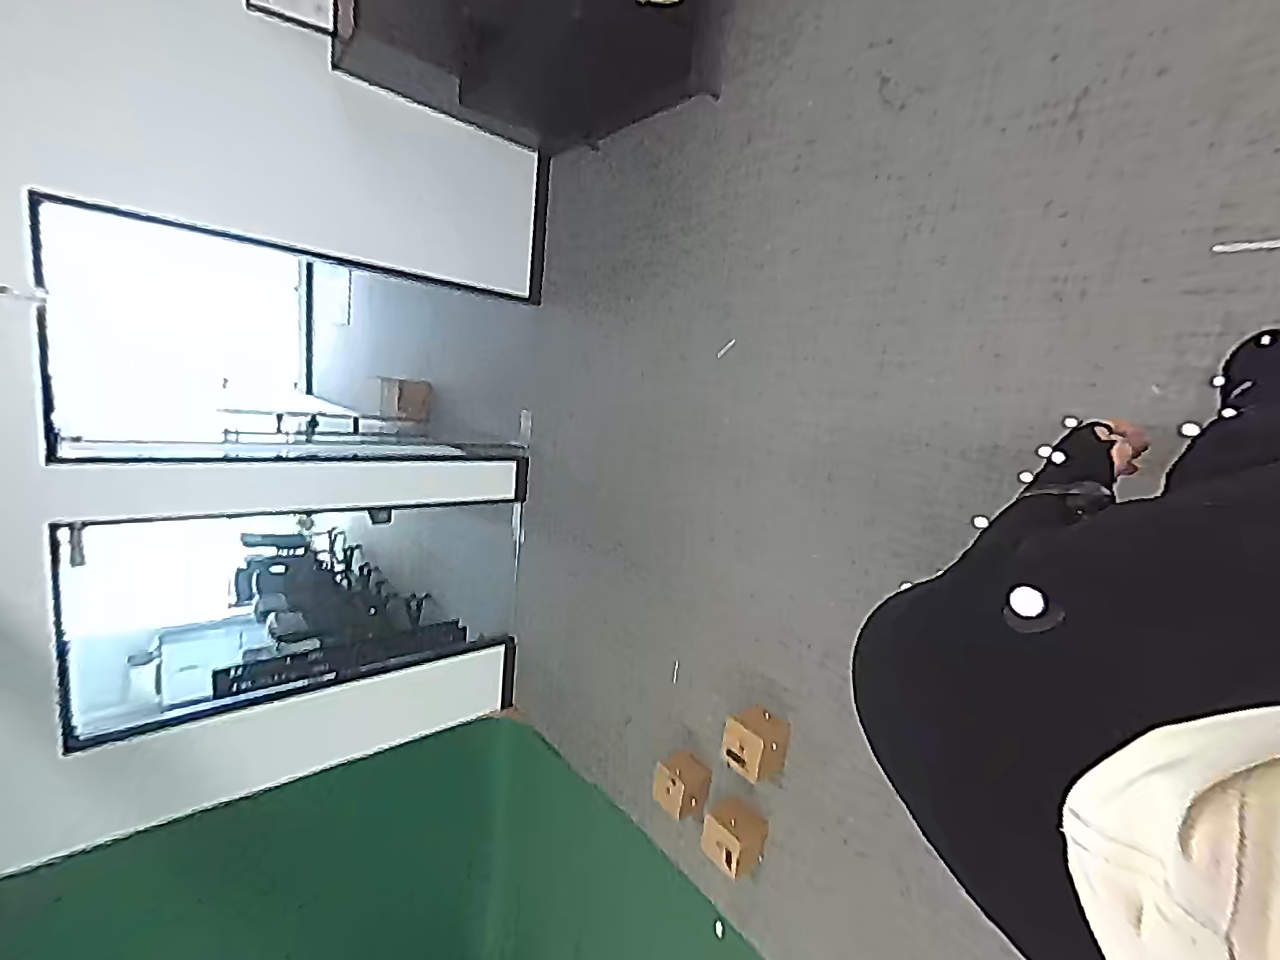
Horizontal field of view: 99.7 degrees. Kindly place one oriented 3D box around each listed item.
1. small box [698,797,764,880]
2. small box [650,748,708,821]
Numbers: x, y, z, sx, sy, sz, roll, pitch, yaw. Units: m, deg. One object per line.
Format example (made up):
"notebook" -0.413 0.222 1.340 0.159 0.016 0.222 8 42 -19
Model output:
"small box" 0.348 1.353 2.058 0.179 0.176 0.168 18 105 47
"small box" 0.165 1.271 2.267 0.168 0.176 0.179 21 108 47
